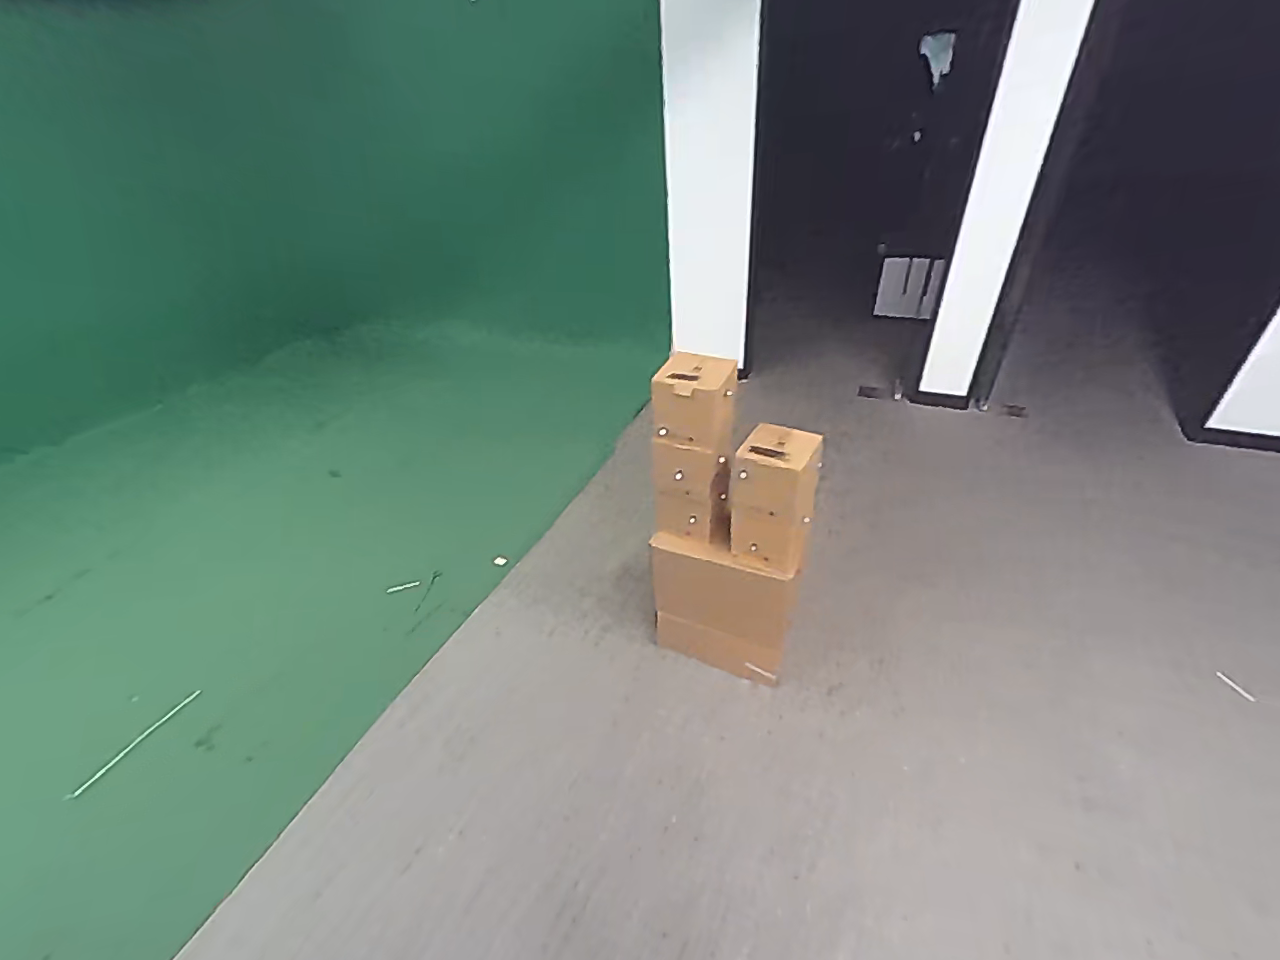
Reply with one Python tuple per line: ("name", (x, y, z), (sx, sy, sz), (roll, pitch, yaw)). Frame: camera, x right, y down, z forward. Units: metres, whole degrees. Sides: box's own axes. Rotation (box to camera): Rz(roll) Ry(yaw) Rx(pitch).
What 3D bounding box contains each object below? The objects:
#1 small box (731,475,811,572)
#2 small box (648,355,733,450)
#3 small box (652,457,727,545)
("small box", (0.352, 0.117, 1.471), (0.168, 0.176, 0.179), (16, 41, 28))
("small box", (0.131, -0.196, 1.371), (0.168, 0.176, 0.179), (14, 40, 20))
("small box", (0.148, 0.062, 1.572), (0.168, 0.176, 0.179), (15, 41, 22))
